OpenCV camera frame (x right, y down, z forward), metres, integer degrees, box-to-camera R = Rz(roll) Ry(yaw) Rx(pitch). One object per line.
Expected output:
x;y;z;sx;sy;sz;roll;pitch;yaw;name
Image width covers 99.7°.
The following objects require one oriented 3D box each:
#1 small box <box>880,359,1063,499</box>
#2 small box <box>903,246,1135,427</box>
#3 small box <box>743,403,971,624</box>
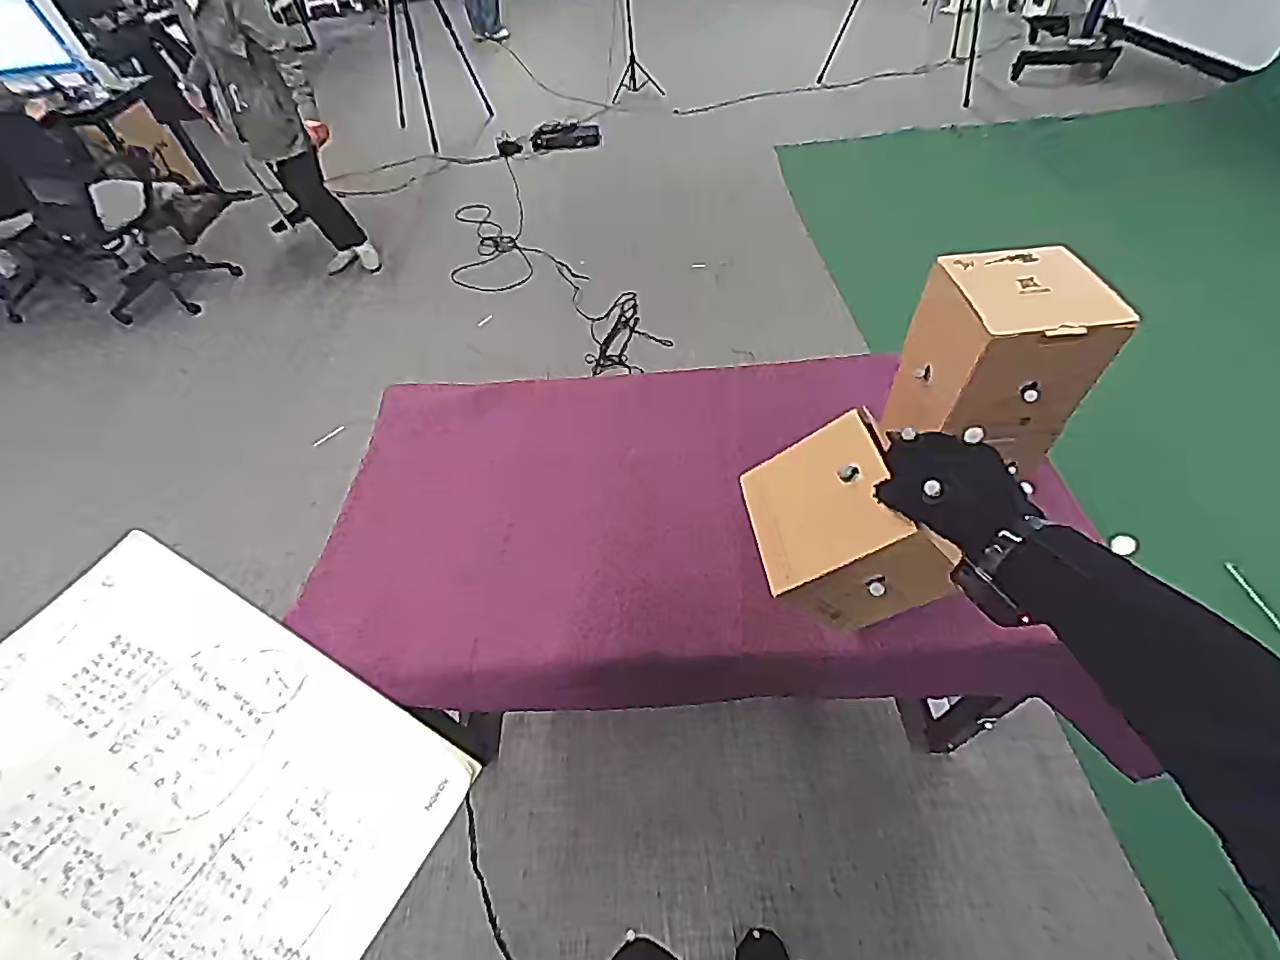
0.500;-0.081;0.850;0.168;0.176;0.179;-3;51;3;small box
0.480;-0.183;0.722;0.168;0.176;0.179;-3;52;3;small box
0.248;0.050;0.649;0.176;0.168;0.179;-35;42;29;small box
